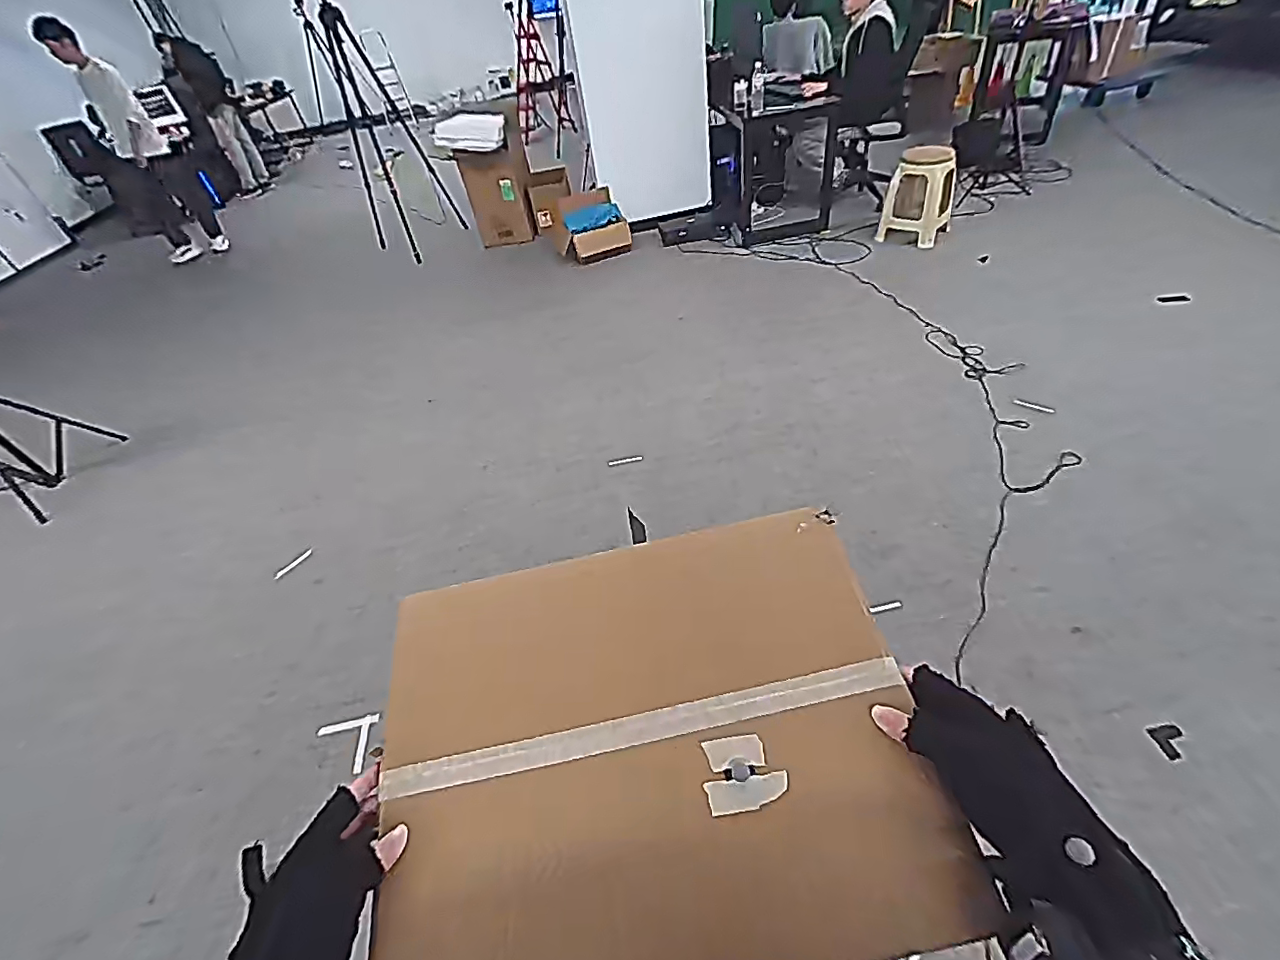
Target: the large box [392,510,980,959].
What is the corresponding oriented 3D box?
[{"bbox_3d":[0.021,0.278,0.555,0.408,0.320,0.320,-12,55,0],"label":"large box"}]
